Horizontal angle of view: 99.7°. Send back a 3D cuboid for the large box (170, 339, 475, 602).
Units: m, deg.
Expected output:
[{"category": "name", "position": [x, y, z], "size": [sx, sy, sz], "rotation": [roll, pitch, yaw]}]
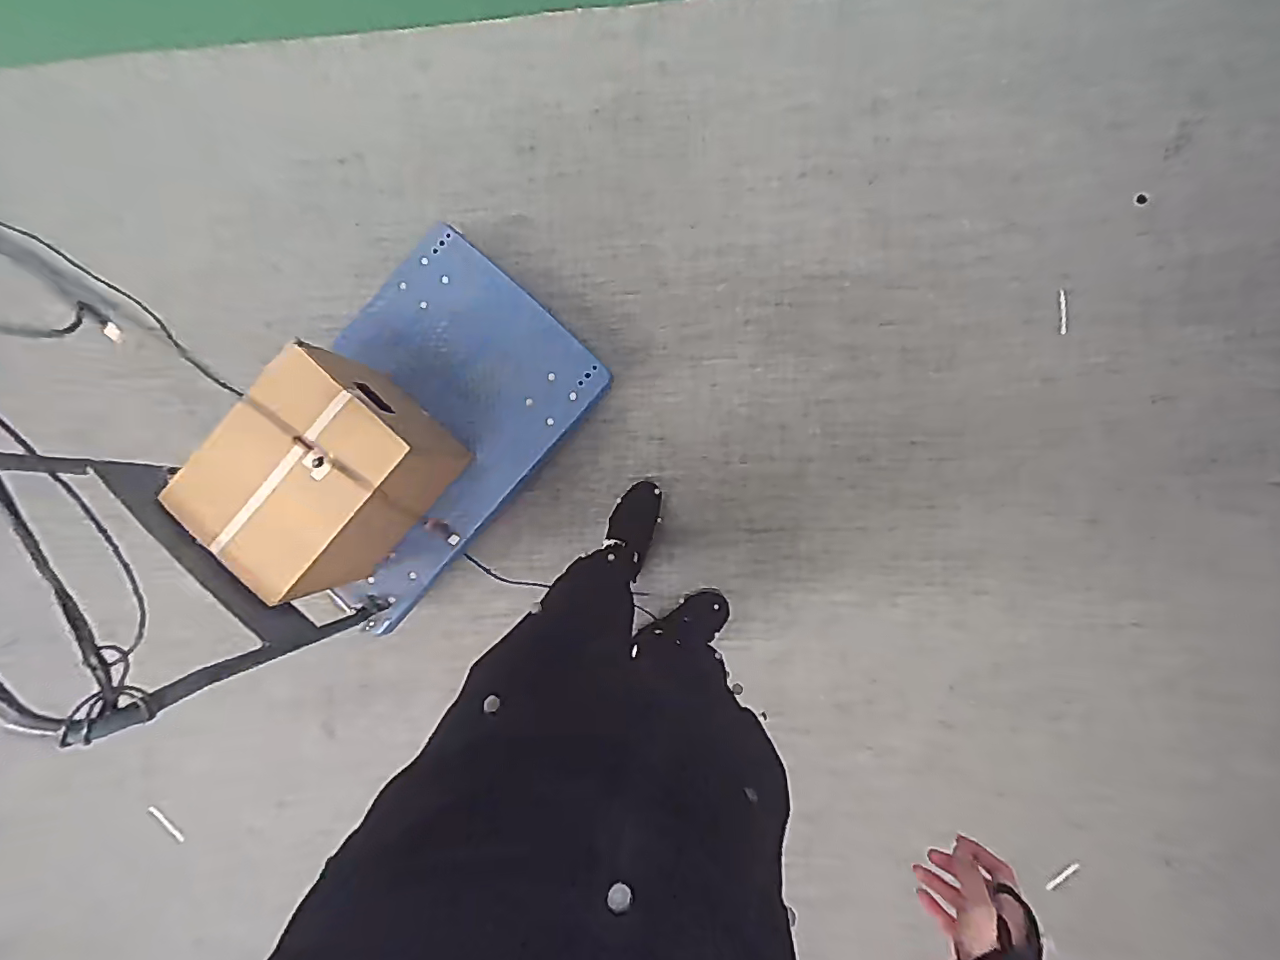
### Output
[{"category": "large box", "position": [-0.640, -0.012, 1.153], "size": [0.320, 0.320, 0.408], "rotation": [42, 91, 4]}]
